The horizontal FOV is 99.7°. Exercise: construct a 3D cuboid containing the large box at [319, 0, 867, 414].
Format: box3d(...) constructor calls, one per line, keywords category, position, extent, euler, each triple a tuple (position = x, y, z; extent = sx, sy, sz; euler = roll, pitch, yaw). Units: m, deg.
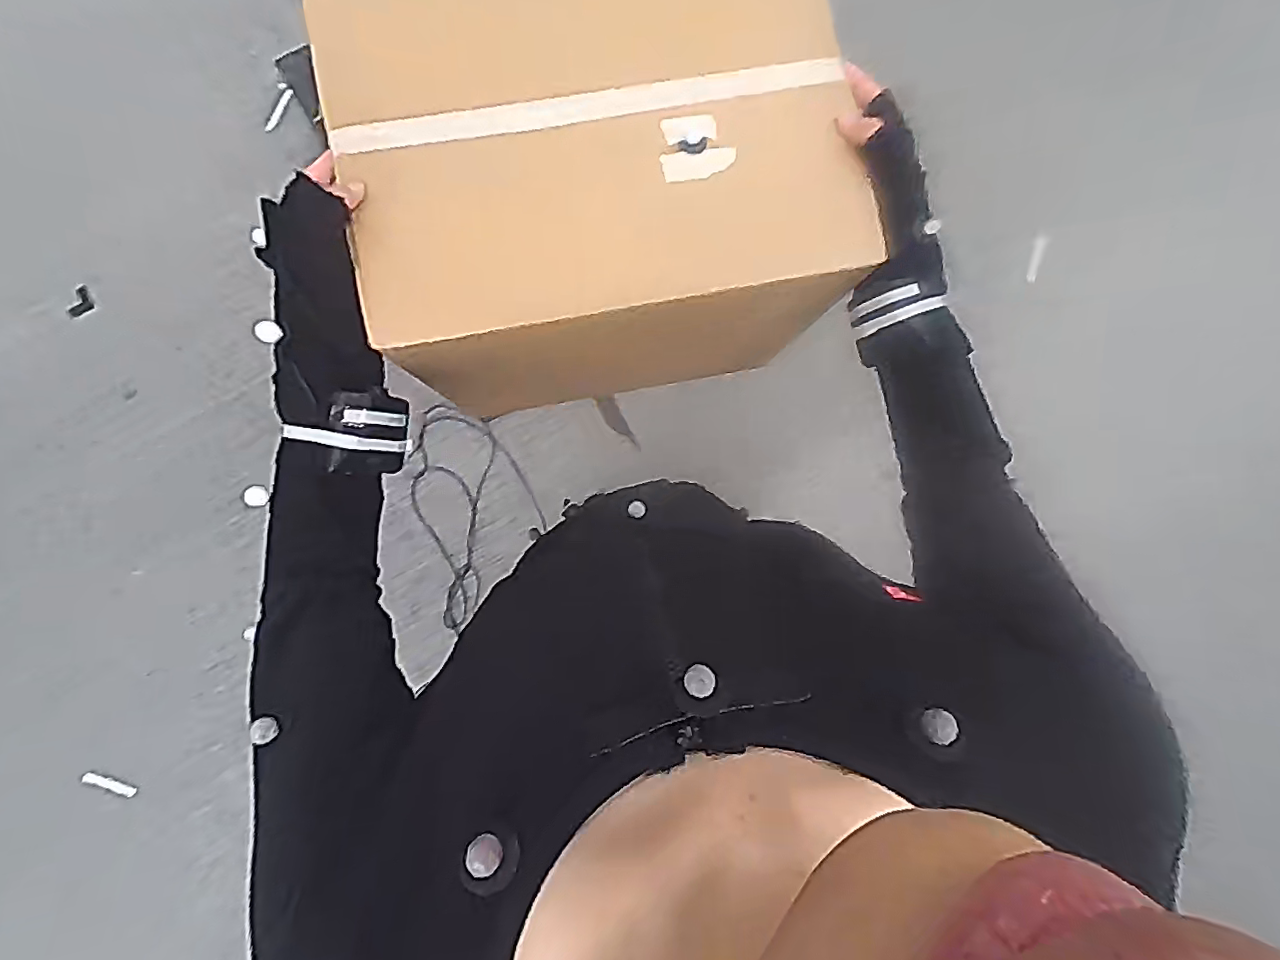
box3d(category="large box", position=(-0.046, -0.284, 0.587), extent=(0.408, 0.320, 0.320), euler=(-12, 88, -5))
